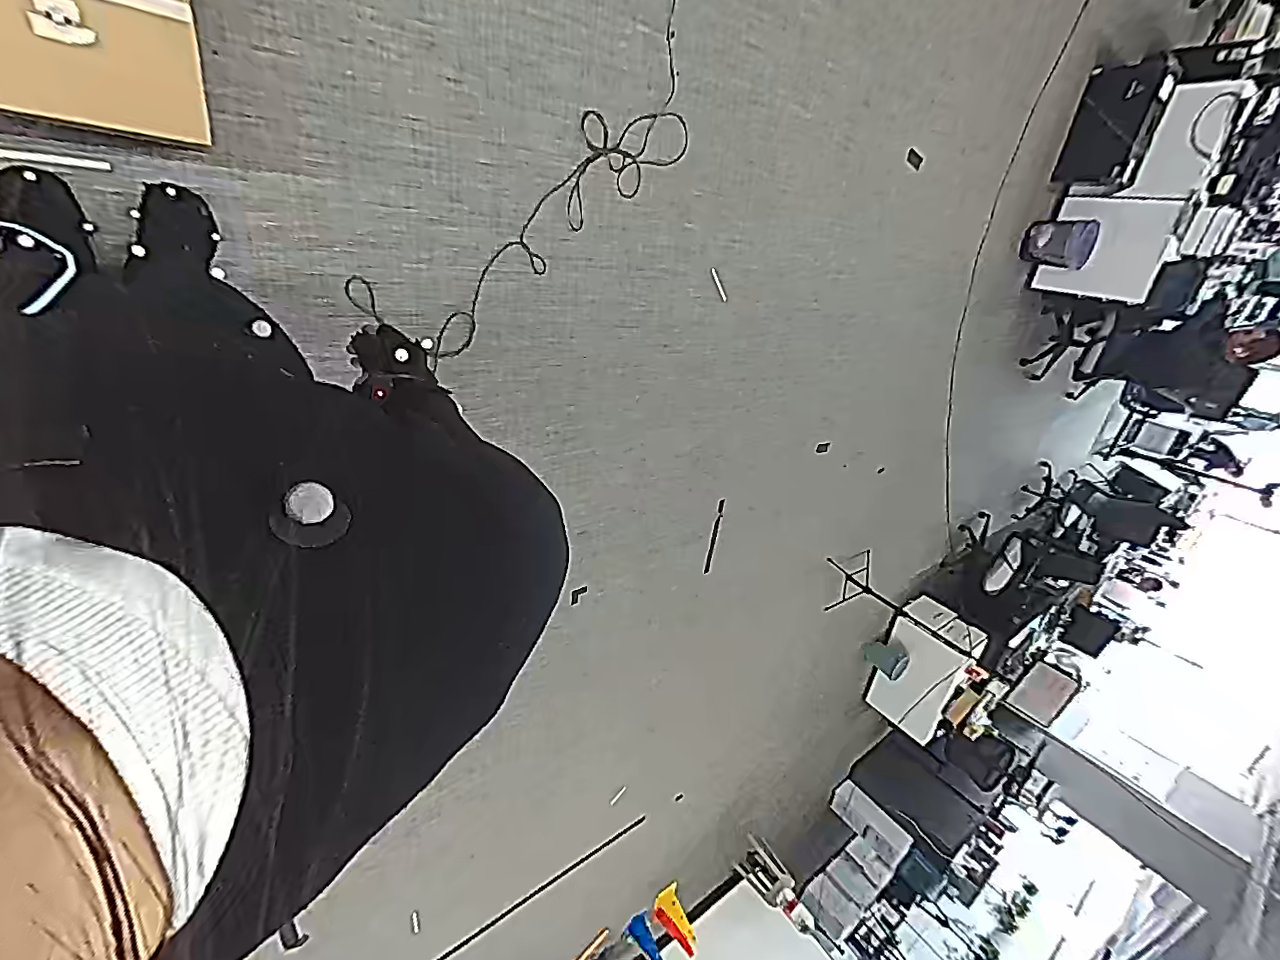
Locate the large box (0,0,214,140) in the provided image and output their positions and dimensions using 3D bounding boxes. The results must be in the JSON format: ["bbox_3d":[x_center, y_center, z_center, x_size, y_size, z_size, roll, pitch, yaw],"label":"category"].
[{"bbox_3d":[-0.863,-0.678,0.728,0.408,0.320,0.320,-11,122,-37],"label":"large box"}]
